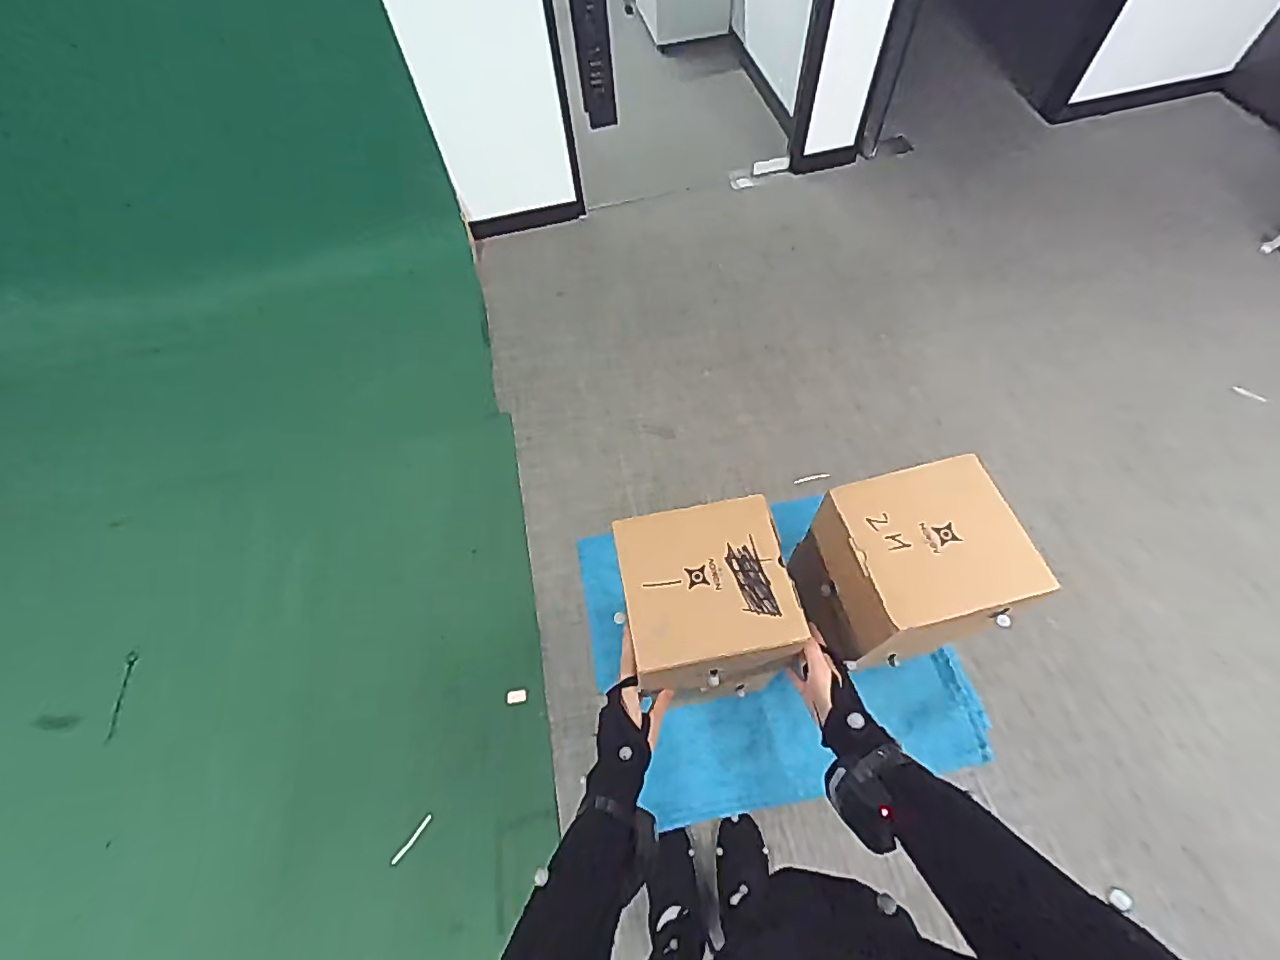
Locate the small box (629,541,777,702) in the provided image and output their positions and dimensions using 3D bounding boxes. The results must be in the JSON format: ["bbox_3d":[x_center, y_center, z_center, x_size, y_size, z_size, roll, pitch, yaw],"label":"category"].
[{"bbox_3d":[0.082,0.209,0.770,0.168,0.176,0.179,-9,60,-3],"label":"small box"}]

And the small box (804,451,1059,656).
[{"bbox_3d":[0.314,0.092,0.628,0.179,0.176,0.168,-13,61,-2],"label":"small box"}]
